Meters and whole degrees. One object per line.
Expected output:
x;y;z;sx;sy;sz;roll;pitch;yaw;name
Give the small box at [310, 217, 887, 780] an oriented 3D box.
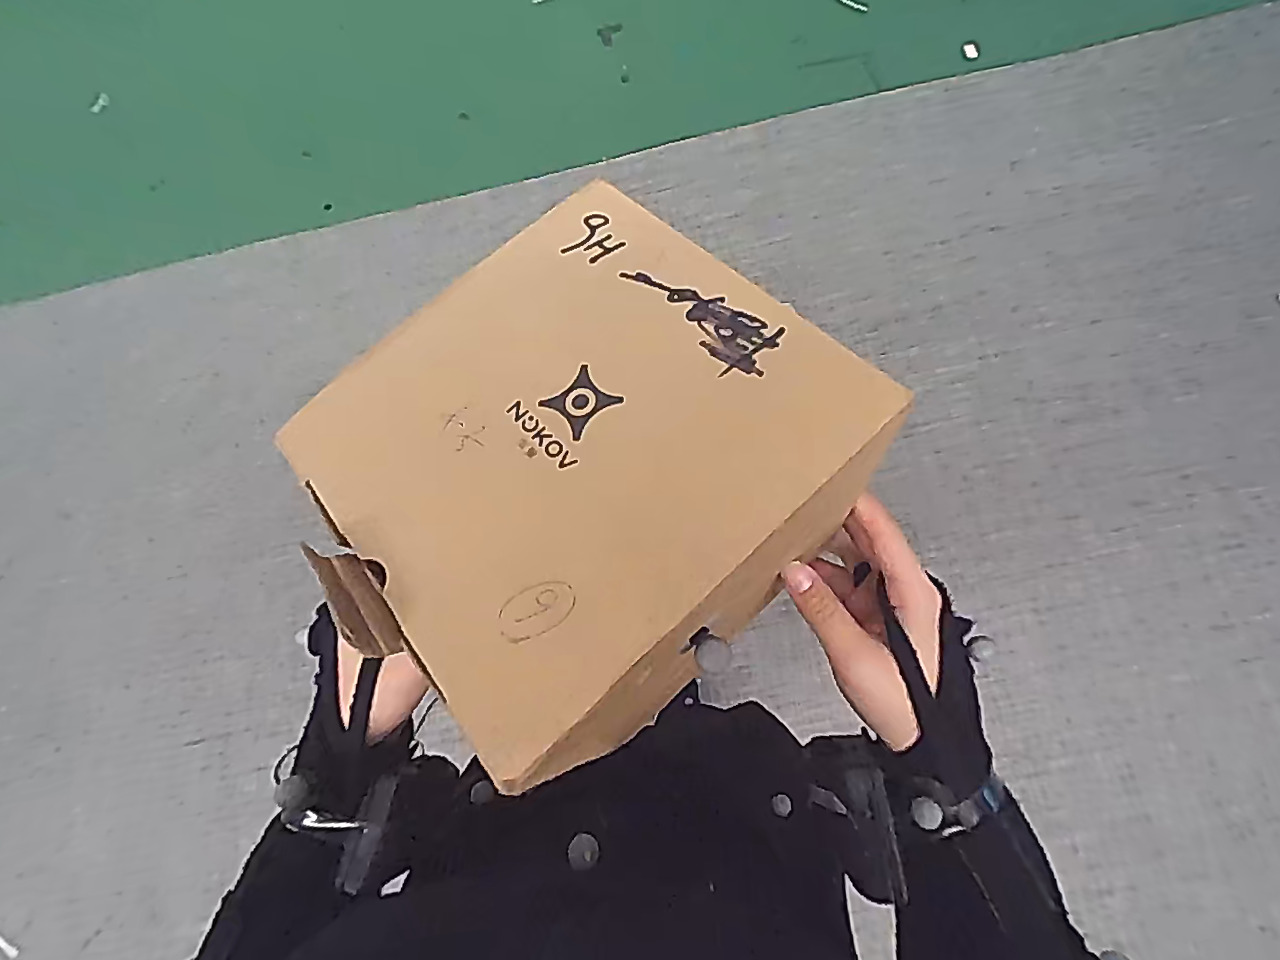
-0.012;0.016;0.281;0.179;0.176;0.168;-42;67;-8;small box
